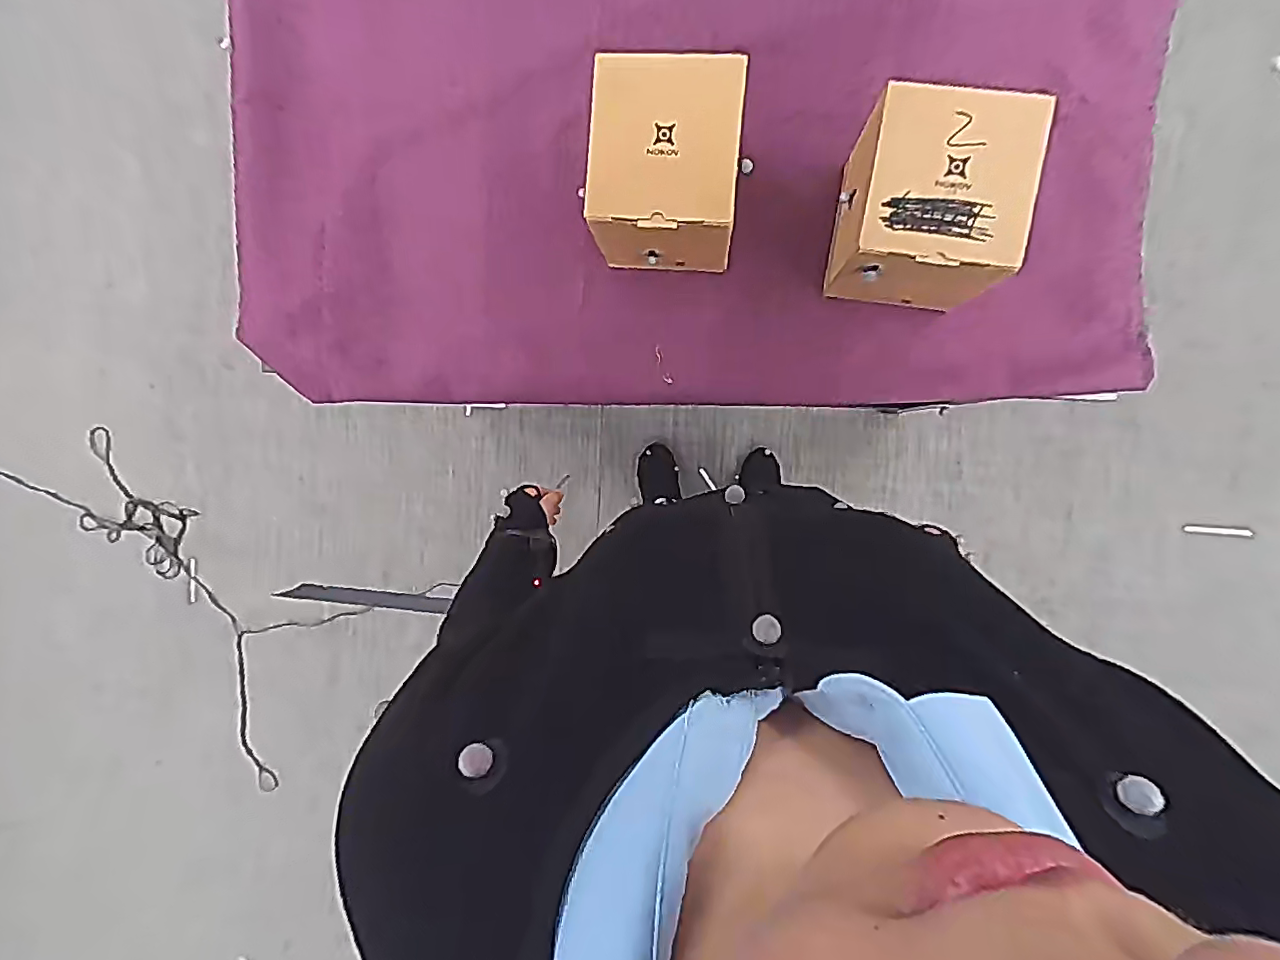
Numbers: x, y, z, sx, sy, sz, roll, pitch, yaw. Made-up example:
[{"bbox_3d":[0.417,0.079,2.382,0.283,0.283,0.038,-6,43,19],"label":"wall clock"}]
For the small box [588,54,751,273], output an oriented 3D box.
[{"bbox_3d":[0.037,-0.372,0.663,0.168,0.176,0.179,5,95,6],"label":"small box"}]
